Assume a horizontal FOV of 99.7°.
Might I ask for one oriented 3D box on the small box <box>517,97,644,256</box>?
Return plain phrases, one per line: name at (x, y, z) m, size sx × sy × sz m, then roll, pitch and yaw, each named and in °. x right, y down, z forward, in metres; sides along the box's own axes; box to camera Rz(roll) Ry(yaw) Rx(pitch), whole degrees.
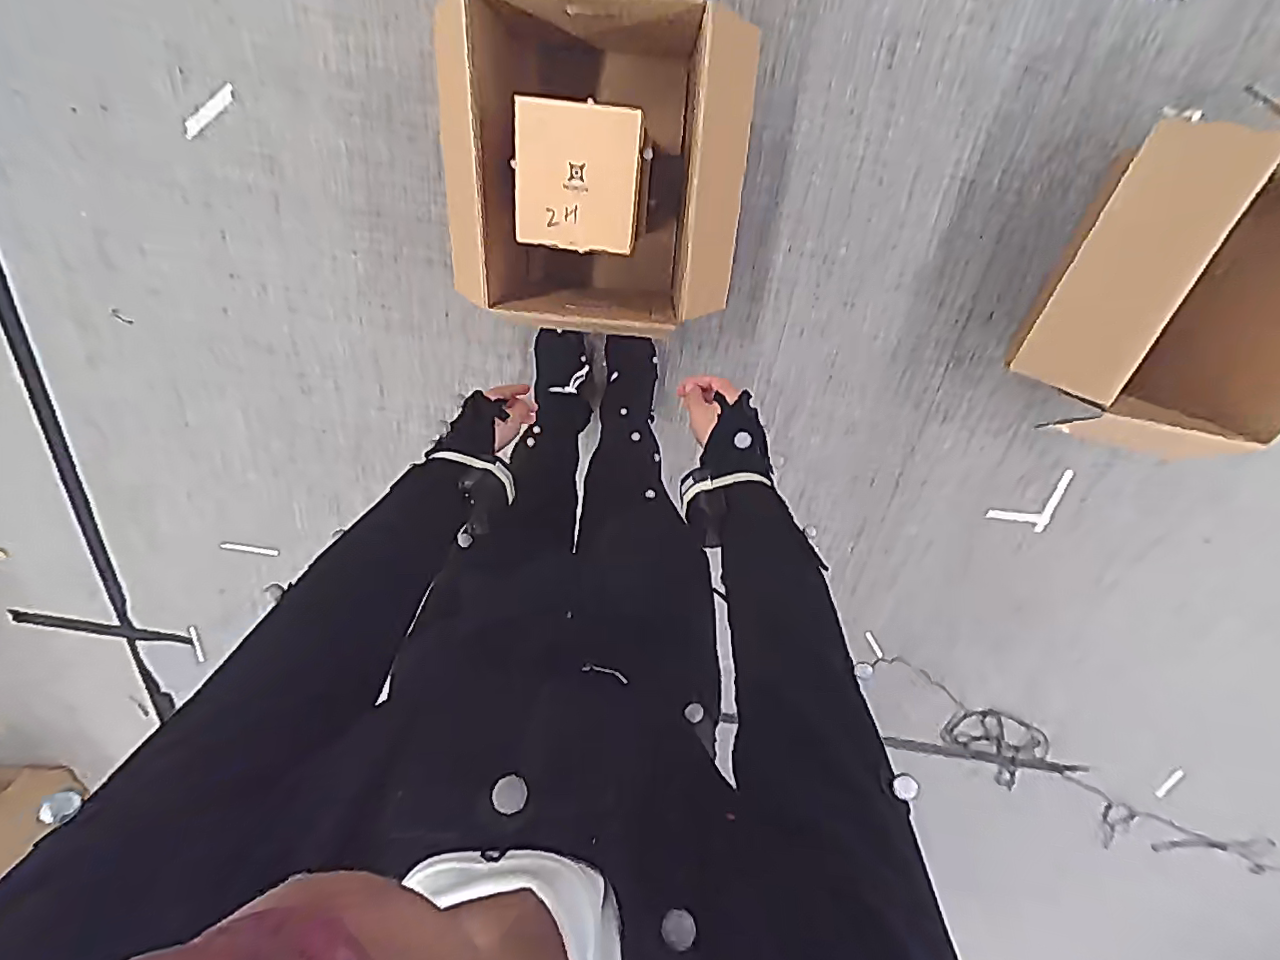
small box at (-0.084, -0.444, 0.806) m, size 0.168 × 0.176 × 0.179 m, roll 6°, pitch 118°, yaw -1°
